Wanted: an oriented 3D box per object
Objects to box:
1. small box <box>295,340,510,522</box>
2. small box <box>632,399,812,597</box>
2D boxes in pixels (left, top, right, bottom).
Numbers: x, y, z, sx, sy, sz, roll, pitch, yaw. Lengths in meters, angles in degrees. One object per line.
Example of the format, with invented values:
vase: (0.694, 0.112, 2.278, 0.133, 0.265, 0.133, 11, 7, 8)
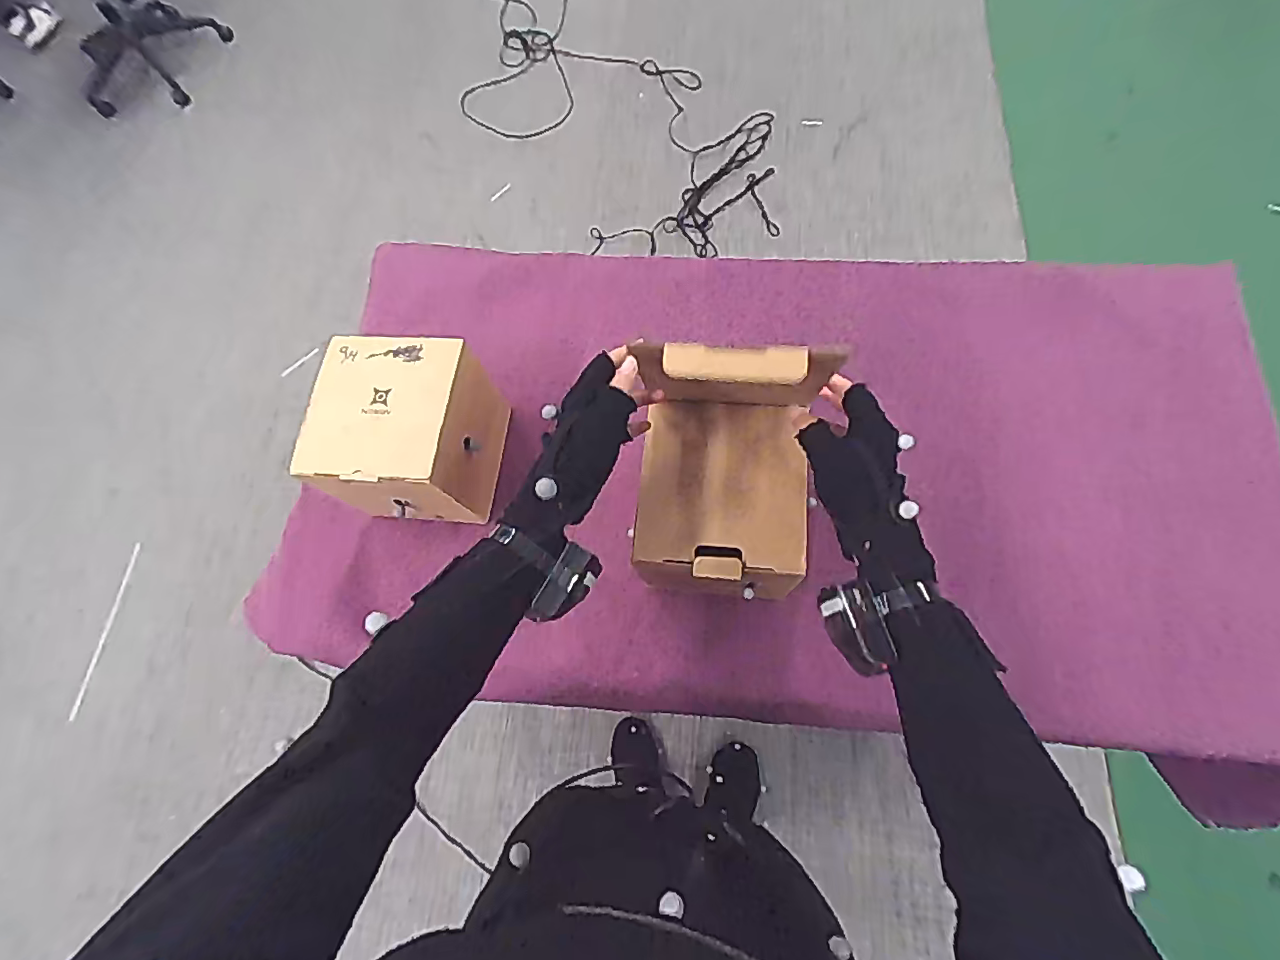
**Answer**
small box: (-0.276, -0.052, 0.674, 0.168, 0.176, 0.179, 3, 71, 7)
small box: (0.091, 0.029, 0.602, 0.168, 0.176, 0.179, 4, 70, 8)
